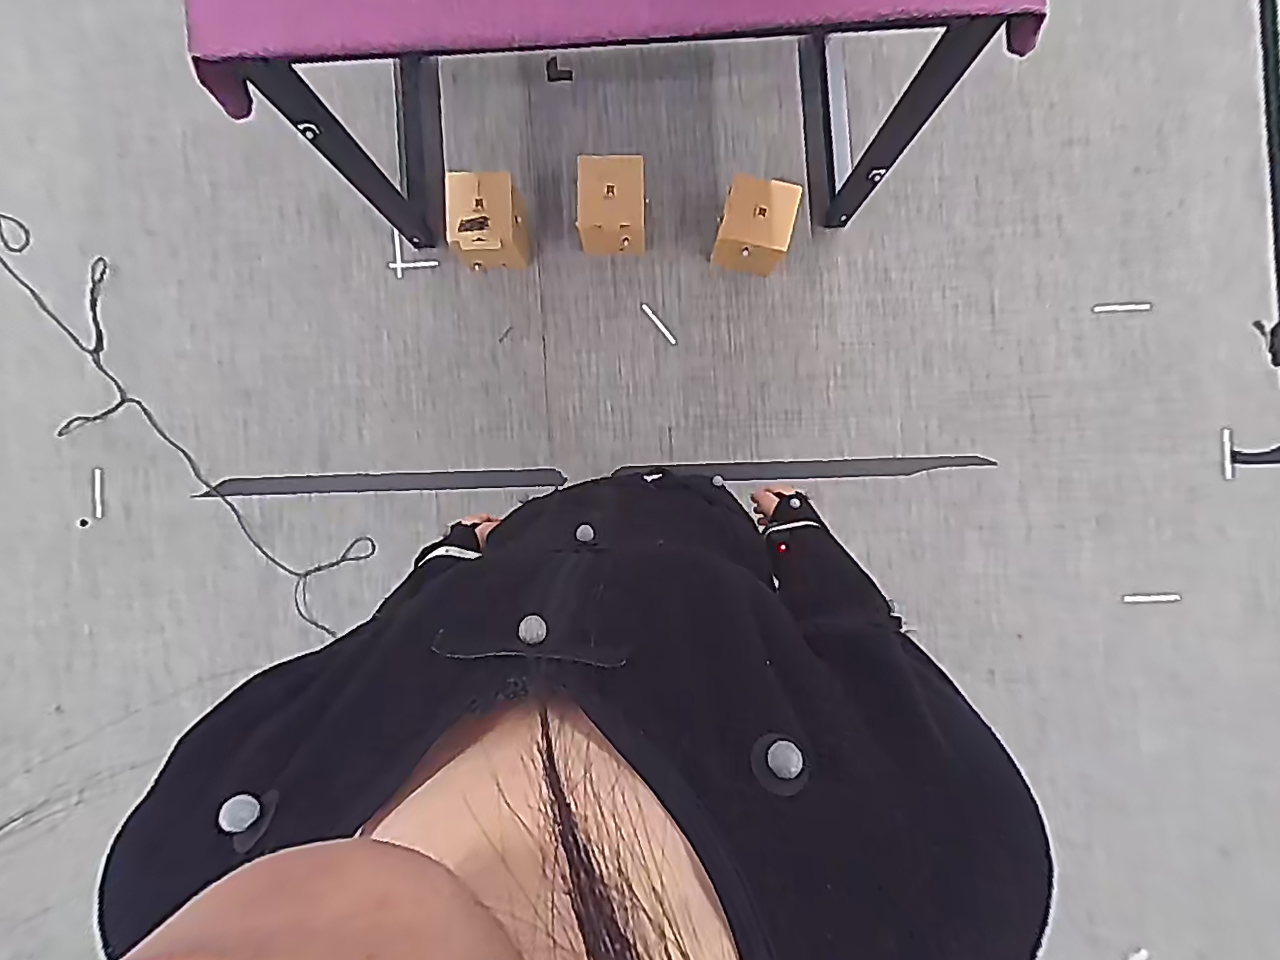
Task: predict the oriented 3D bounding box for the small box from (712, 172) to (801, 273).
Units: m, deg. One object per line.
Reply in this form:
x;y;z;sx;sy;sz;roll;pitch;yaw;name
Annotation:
0.296;-0.661;1.410;0.179;0.176;0.168;14;91;2;small box

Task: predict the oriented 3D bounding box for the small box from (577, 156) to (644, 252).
-0.074;-0.711;1.412;0.168;0.176;0.179;-1;89;0;small box

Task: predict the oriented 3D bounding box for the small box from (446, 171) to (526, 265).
-0.396;-0.673;1.411;0.168;0.176;0.179;-2;89;0;small box
